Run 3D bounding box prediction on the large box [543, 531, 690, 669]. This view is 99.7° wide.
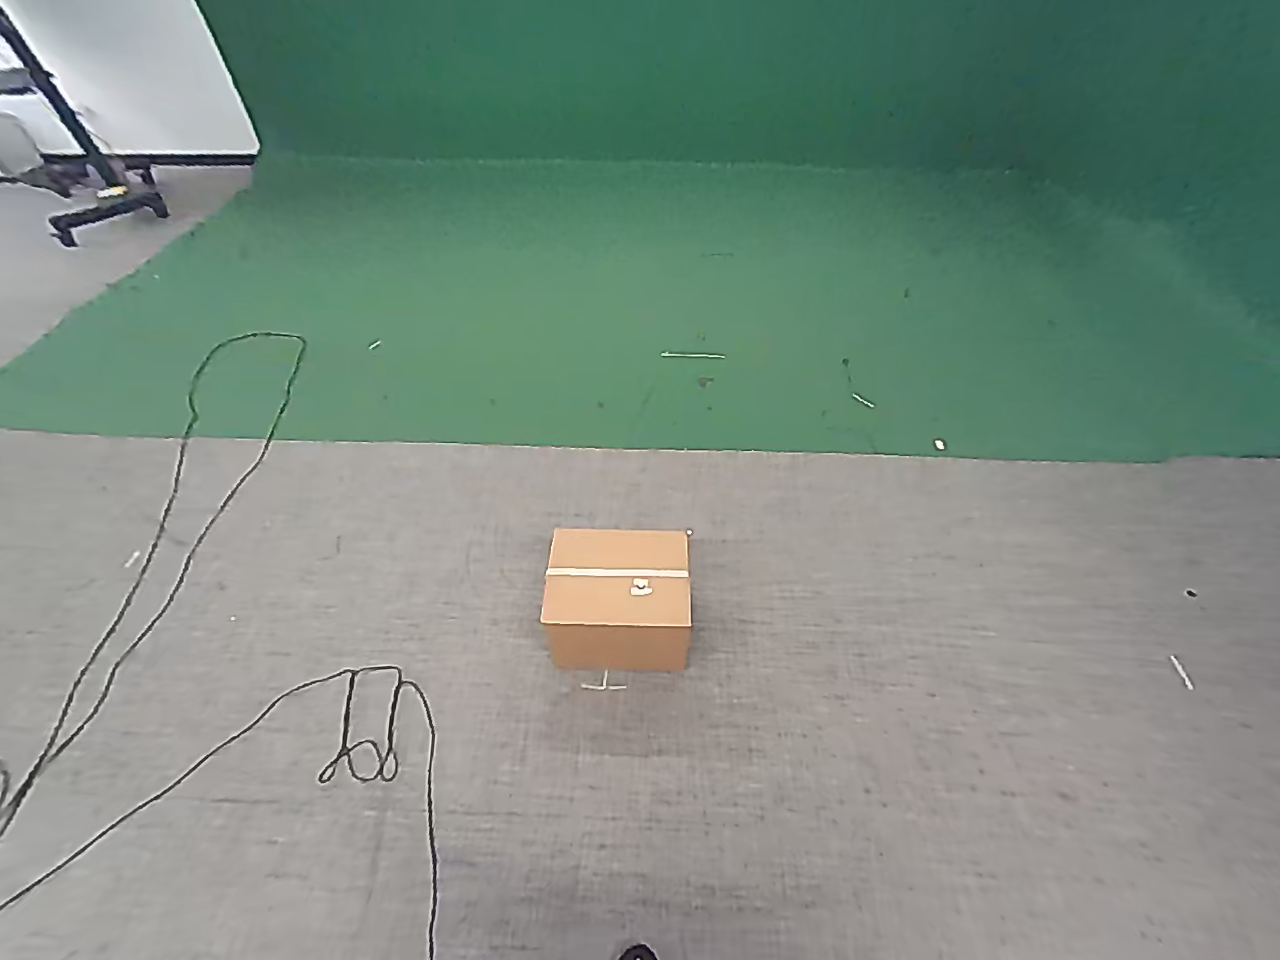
[{"bbox_3d":[-0.067,0.370,1.653,0.408,0.320,0.320,1,49,0],"label":"large box"}]
